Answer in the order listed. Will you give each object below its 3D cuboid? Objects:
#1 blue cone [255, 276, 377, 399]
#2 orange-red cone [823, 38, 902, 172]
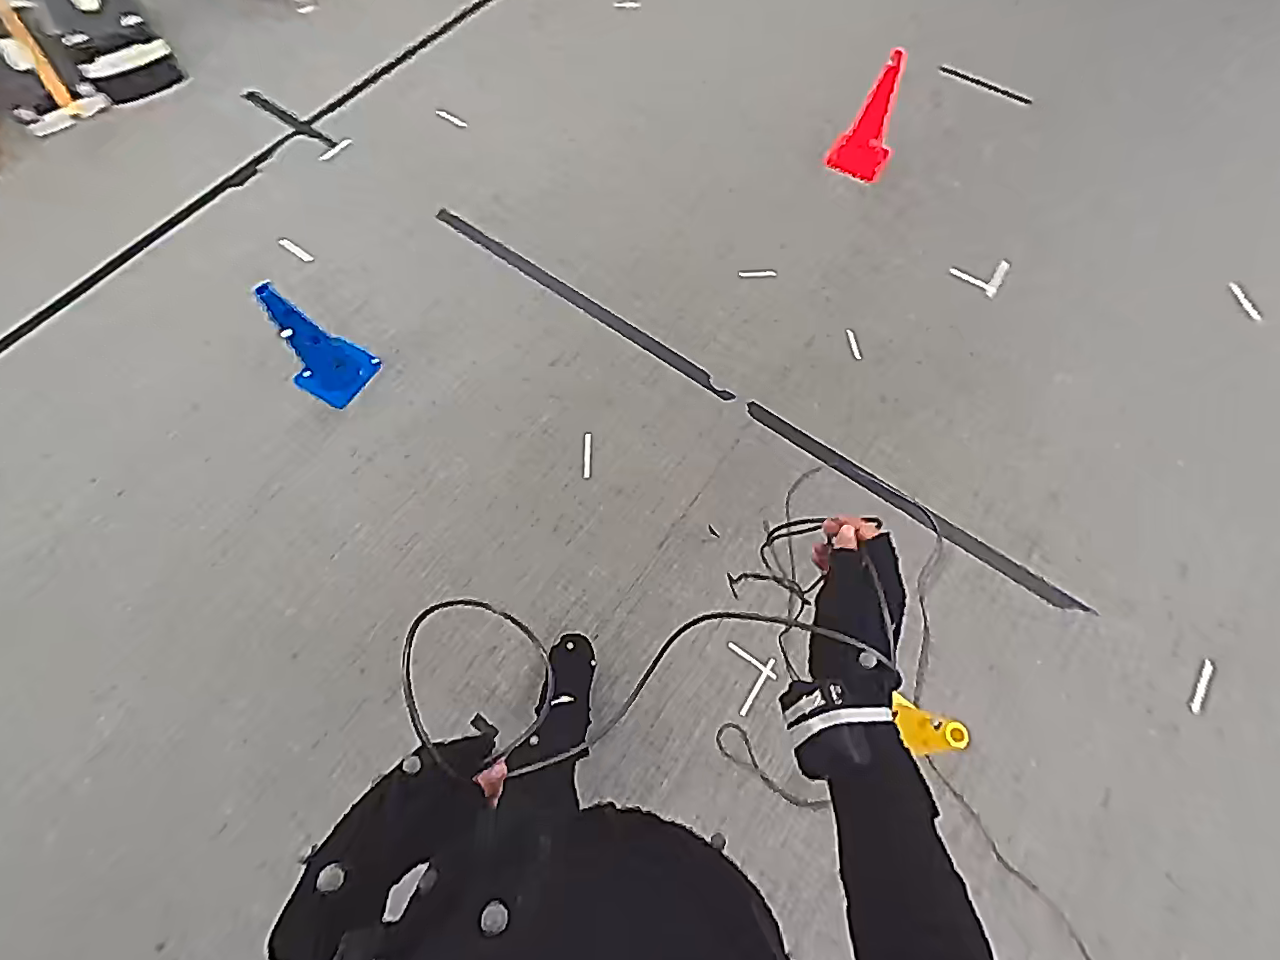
[{"bbox_3d":[-0.919,-0.403,1.478,0.193,0.380,0.192,29,71,12],"label":"blue cone"},{"bbox_3d":[0.793,-1.285,1.832,0.199,0.360,0.198,29,70,13],"label":"orange-red cone"}]
